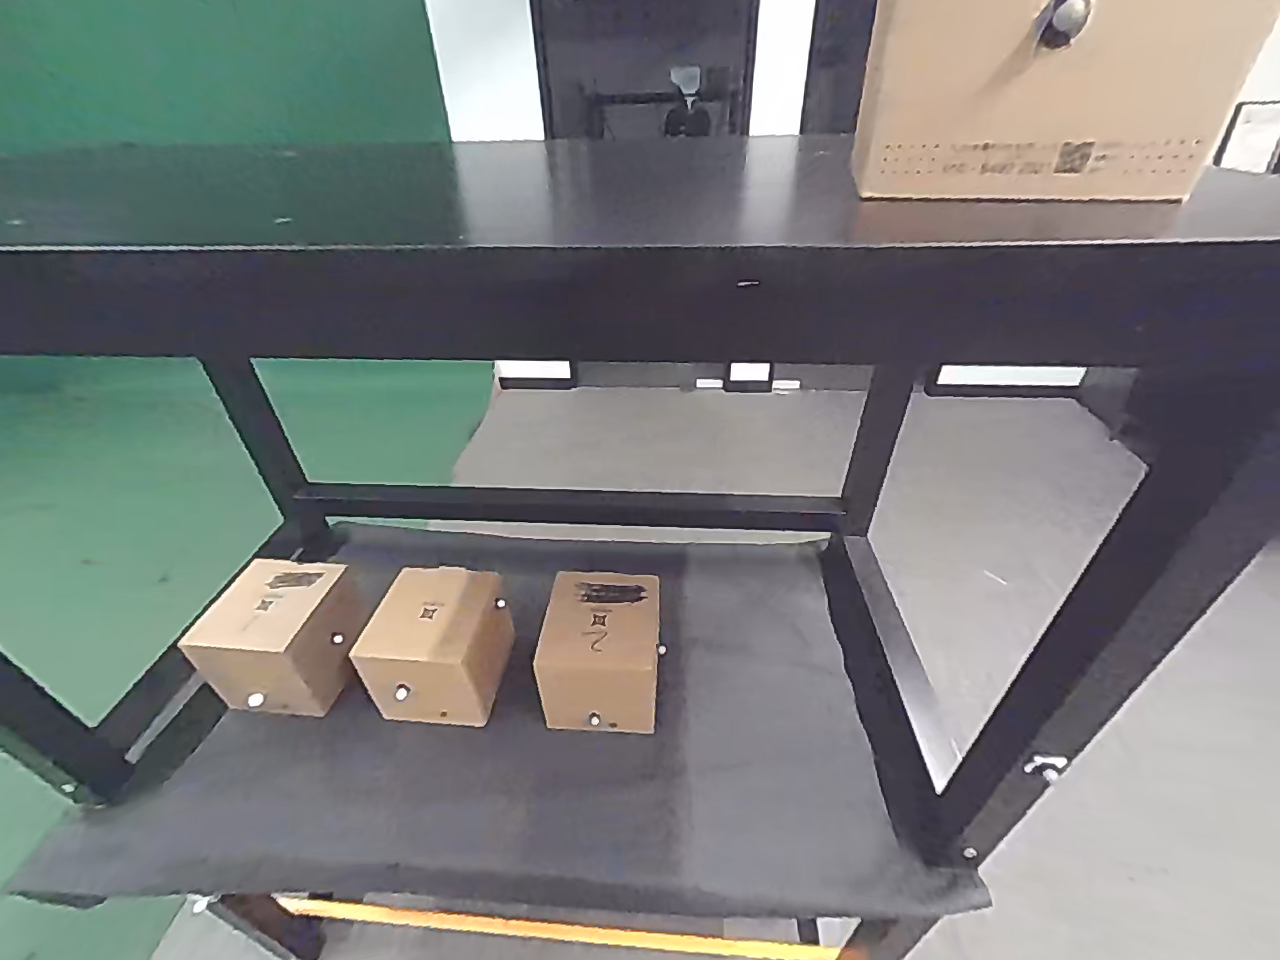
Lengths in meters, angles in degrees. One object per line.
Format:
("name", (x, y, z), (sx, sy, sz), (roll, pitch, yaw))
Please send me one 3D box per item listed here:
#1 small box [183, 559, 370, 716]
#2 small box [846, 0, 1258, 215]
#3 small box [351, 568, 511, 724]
("small box", (-0.568, 0.253, 0.881), (0.168, 0.176, 0.179), (2, 37, 5))
("small box", (0.228, -0.267, 0.329), (0.168, 0.176, 0.179), (8, 37, 13))
("small box", (-0.316, 0.264, 0.863), (0.168, 0.176, 0.179), (2, 36, 5))
